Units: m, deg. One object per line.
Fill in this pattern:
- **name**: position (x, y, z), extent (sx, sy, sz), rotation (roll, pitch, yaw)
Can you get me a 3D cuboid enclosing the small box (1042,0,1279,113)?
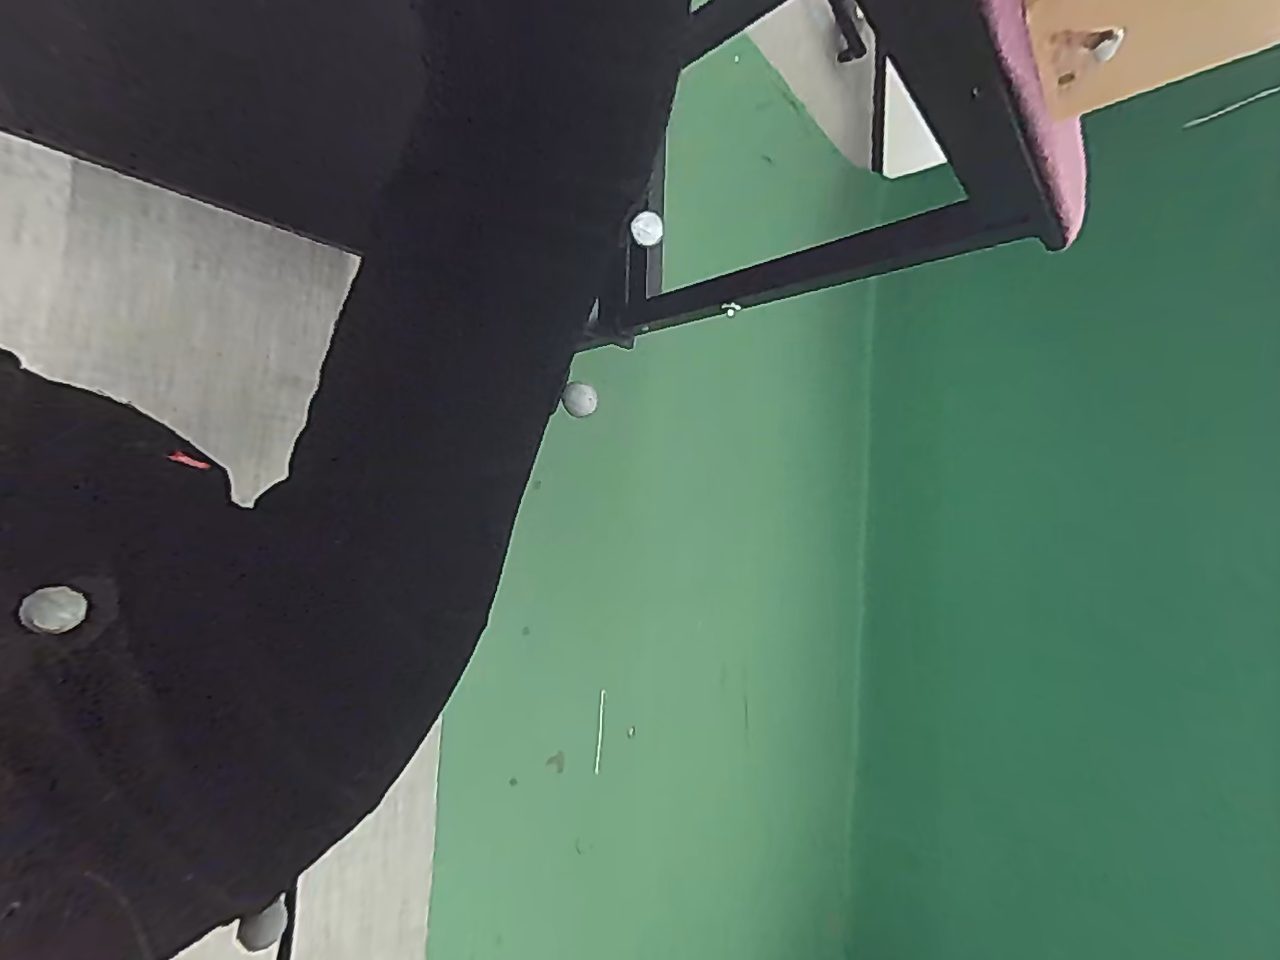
- **small box**: position (0.457, -0.473, 0.463), extent (0.168, 0.176, 0.179), rotation (13, 83, -45)
